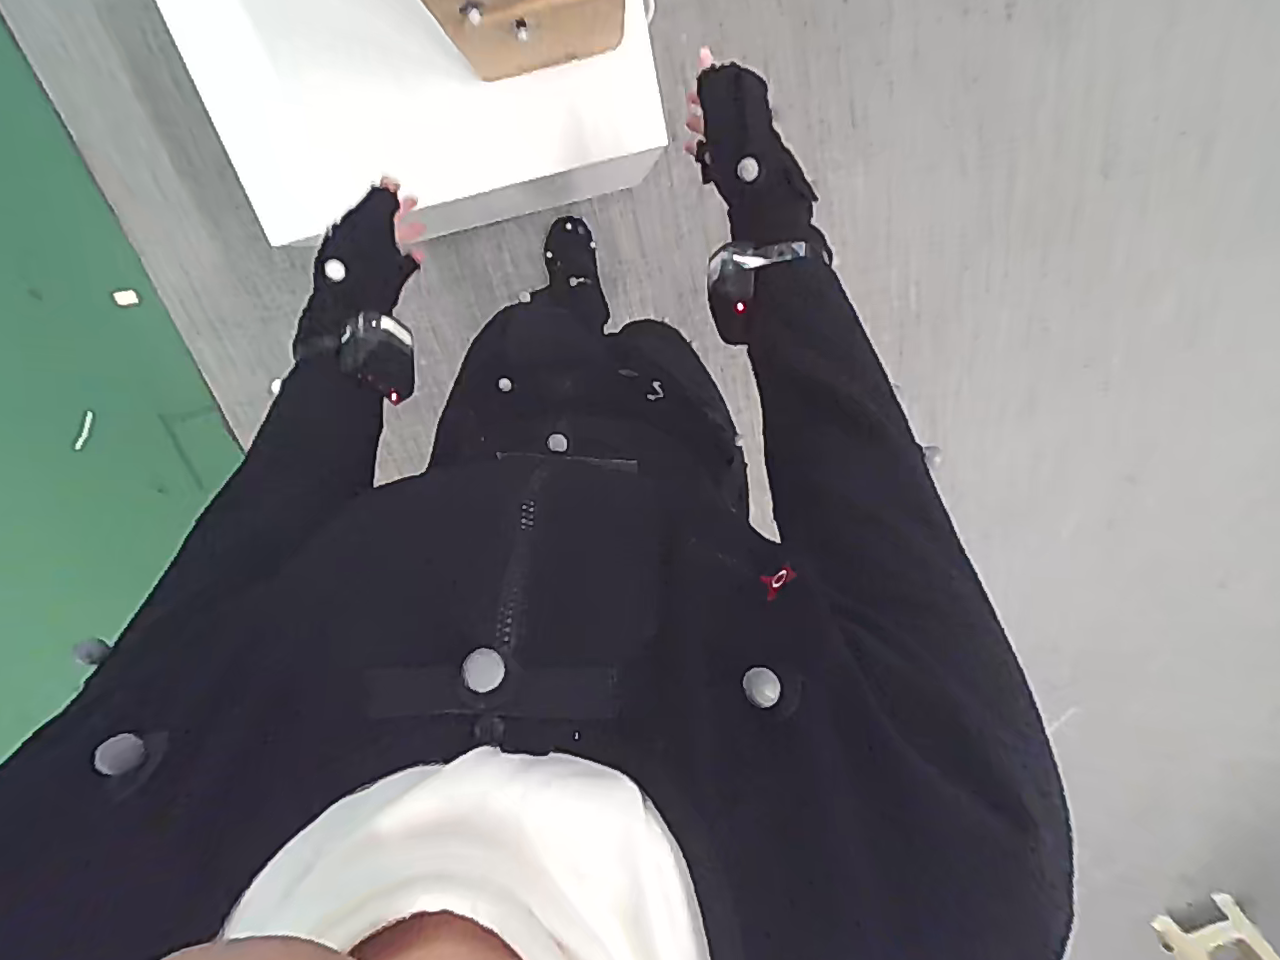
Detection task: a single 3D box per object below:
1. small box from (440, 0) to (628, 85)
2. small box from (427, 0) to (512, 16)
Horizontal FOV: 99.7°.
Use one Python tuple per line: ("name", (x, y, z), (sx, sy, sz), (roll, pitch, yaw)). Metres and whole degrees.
("small box", (-0.111, -0.514, 0.510), (0.168, 0.176, 0.179), (-13, 114, 3))
("small box", (-0.111, -0.452, 0.357), (0.168, 0.176, 0.179), (-15, 113, 4))
